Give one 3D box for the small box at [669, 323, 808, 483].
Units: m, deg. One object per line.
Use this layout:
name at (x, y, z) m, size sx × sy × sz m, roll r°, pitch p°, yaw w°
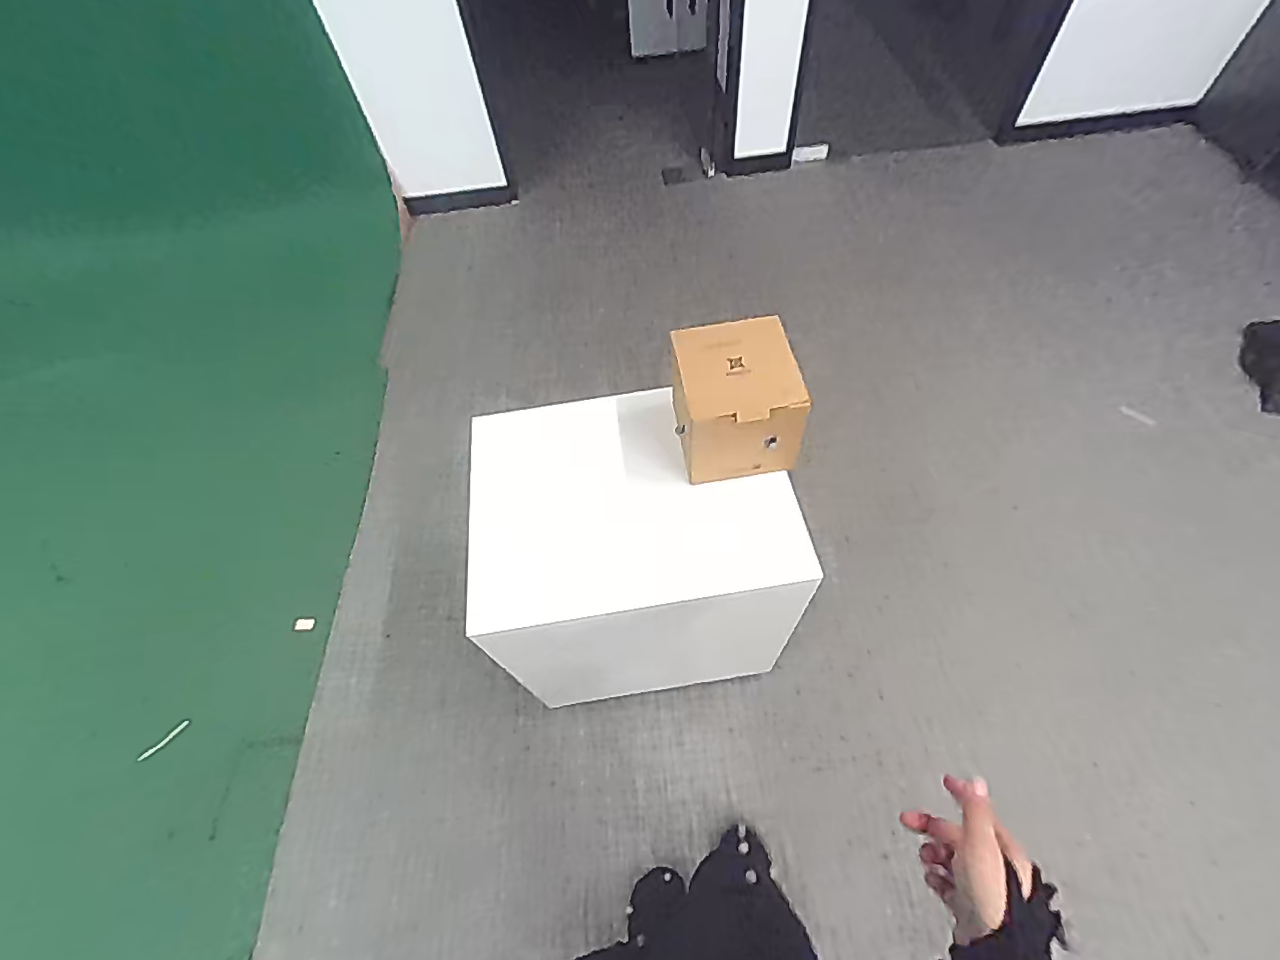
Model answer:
small box at (0.141, -0.108, 0.830) m, size 0.168 × 0.176 × 0.179 m, roll -9°, pitch 57°, yaw -1°
